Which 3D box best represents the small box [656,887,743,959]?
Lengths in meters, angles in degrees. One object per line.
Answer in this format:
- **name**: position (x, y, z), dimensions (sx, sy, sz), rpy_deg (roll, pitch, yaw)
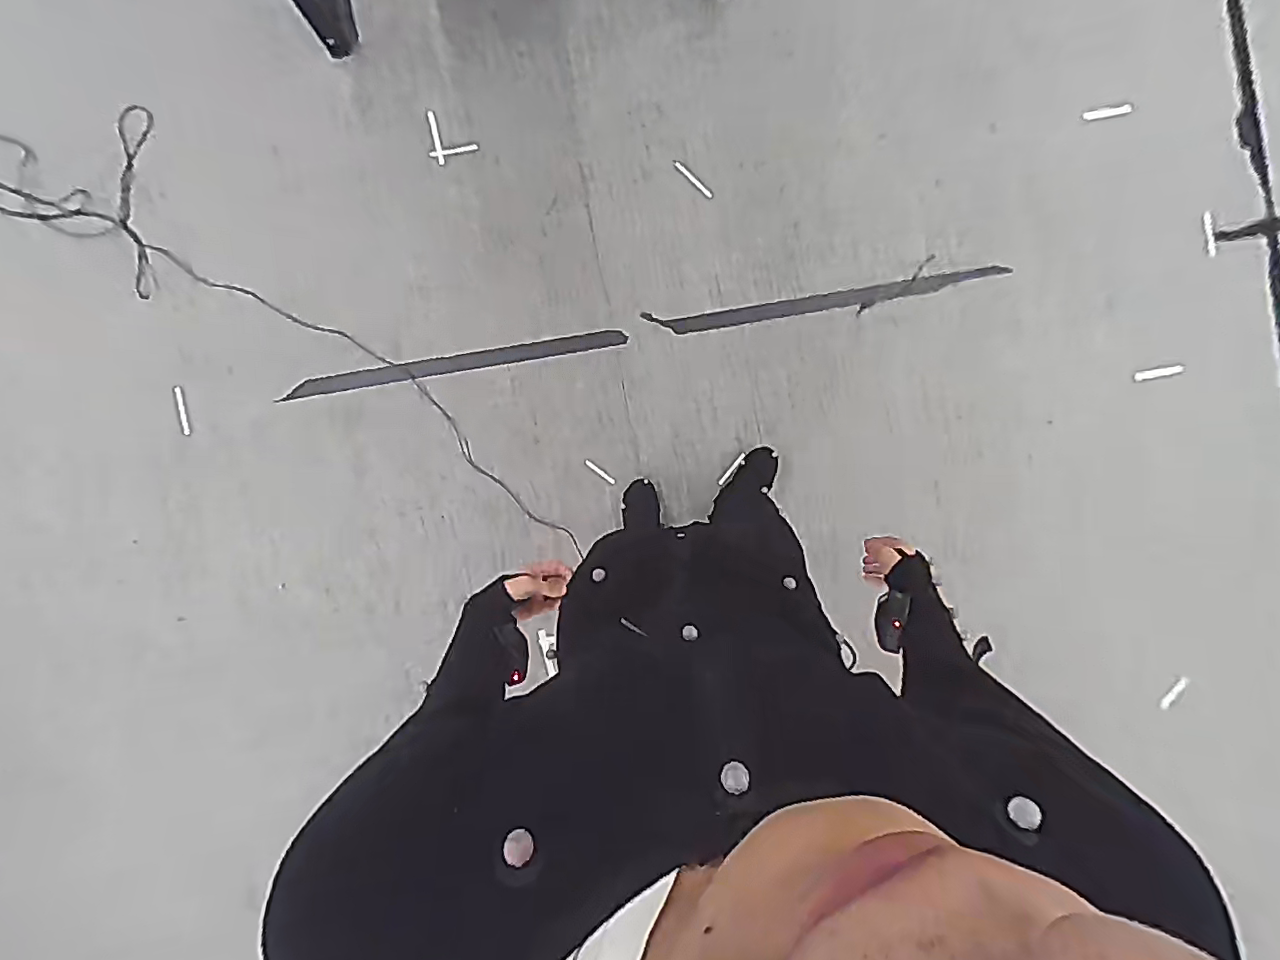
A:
- **small box**: position (0.128, 1.029, 1.179), dimensions (0.168, 0.176, 0.179), rpy_deg (-4, 94, -3)
